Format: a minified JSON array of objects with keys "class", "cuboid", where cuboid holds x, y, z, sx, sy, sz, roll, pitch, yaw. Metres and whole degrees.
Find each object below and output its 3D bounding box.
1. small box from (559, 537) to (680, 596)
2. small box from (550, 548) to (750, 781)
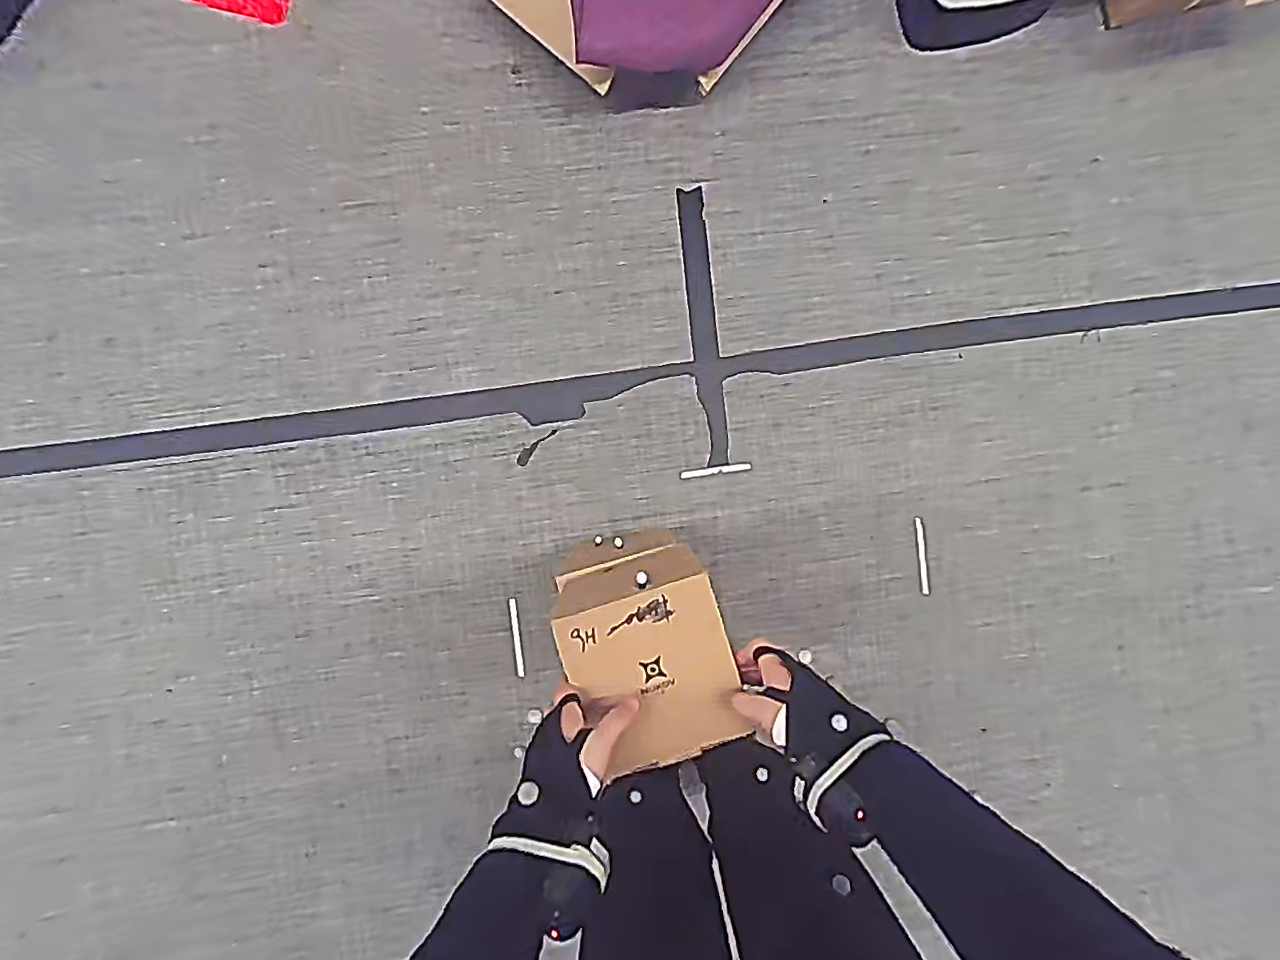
[{"class":"small box","cuboid":[-0.011,0.187,0.783,0.168,0.176,0.179,-16,92,-1]},{"class":"small box","cuboid":[0.010,0.195,0.619,0.168,0.176,0.179,-17,94,-1]}]
